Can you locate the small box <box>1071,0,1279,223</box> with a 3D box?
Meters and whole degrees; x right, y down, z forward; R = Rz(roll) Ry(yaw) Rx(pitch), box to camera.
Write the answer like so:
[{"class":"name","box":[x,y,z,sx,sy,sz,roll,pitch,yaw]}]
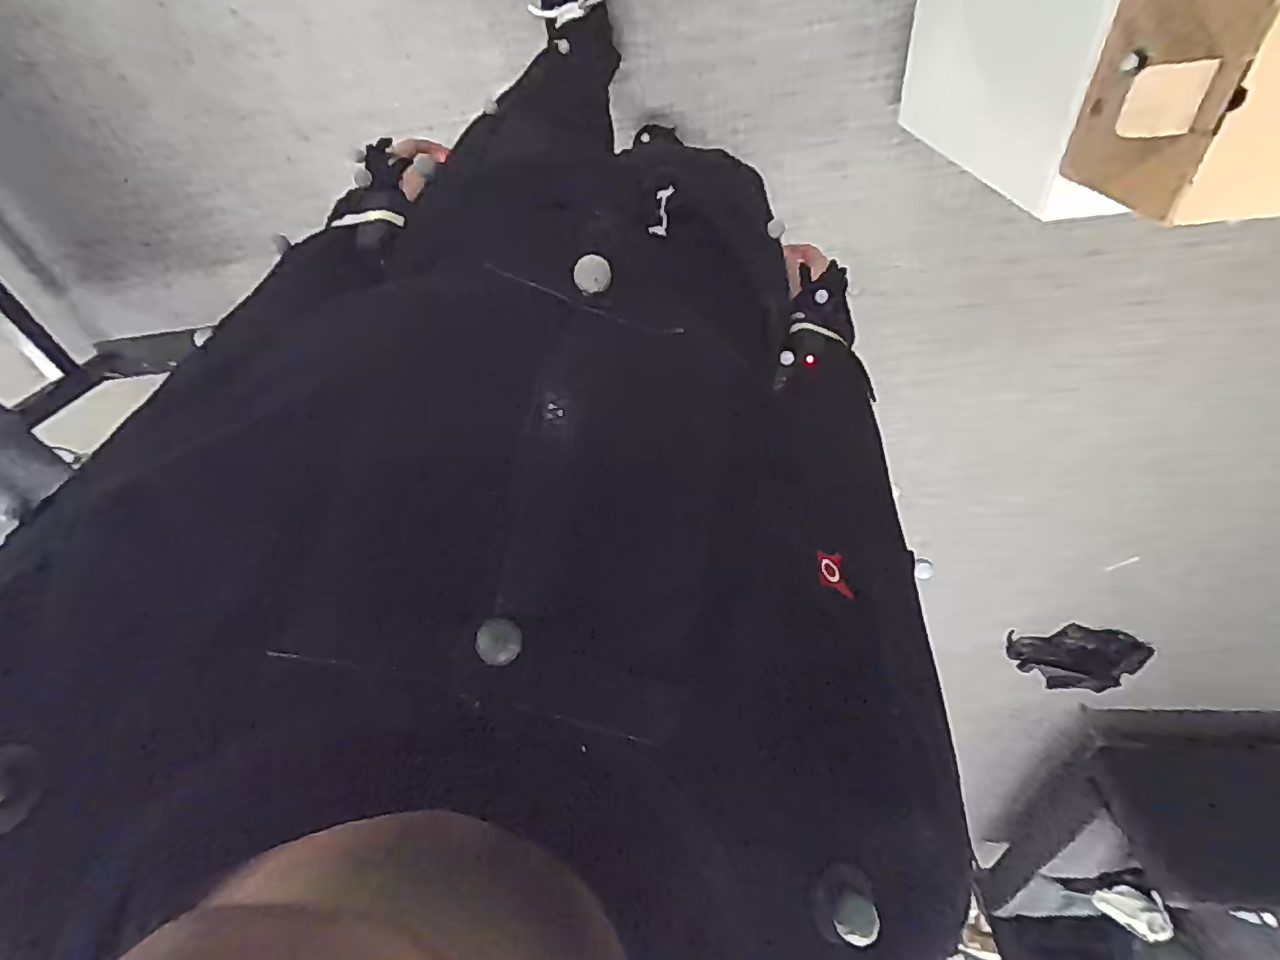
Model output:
[{"class":"small box","box":[0.492,-0.316,0.413,0.179,0.176,0.168,-2,132,8]}]
